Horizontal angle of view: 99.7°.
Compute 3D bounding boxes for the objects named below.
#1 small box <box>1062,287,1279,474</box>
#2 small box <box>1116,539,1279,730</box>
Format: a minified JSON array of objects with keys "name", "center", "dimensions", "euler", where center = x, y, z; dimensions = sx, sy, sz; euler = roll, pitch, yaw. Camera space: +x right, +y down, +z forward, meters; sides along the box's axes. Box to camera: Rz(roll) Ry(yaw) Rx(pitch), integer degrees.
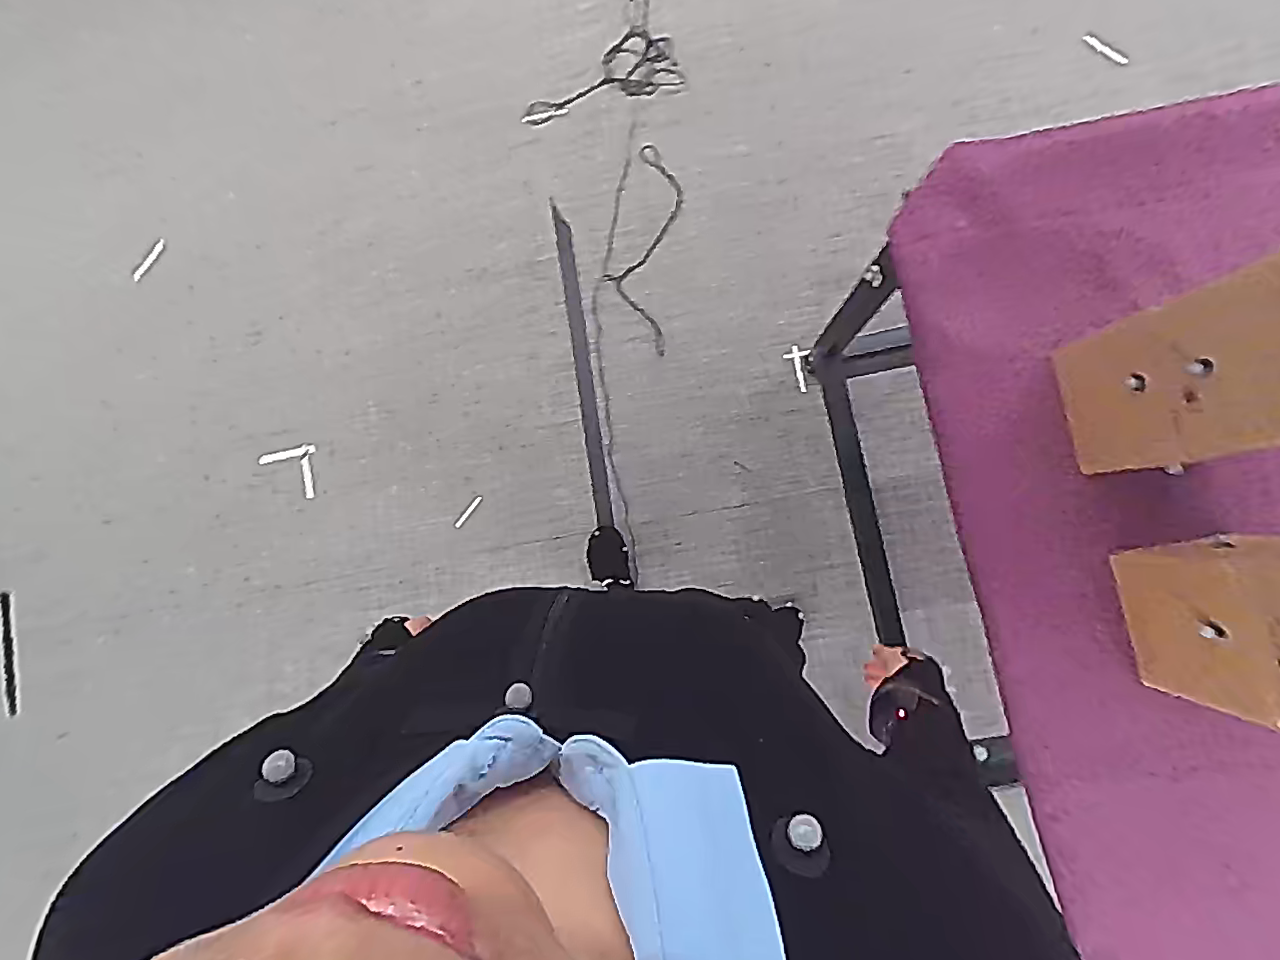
[{"name":"small box","center":[0.669,-0.111,0.666],"dimensions":[0.168,0.176,0.179],"euler":[-10,85,3]},{"name":"small box","center":[0.725,0.168,0.639],"dimensions":[0.168,0.176,0.179],"euler":[-9,84,3]}]
